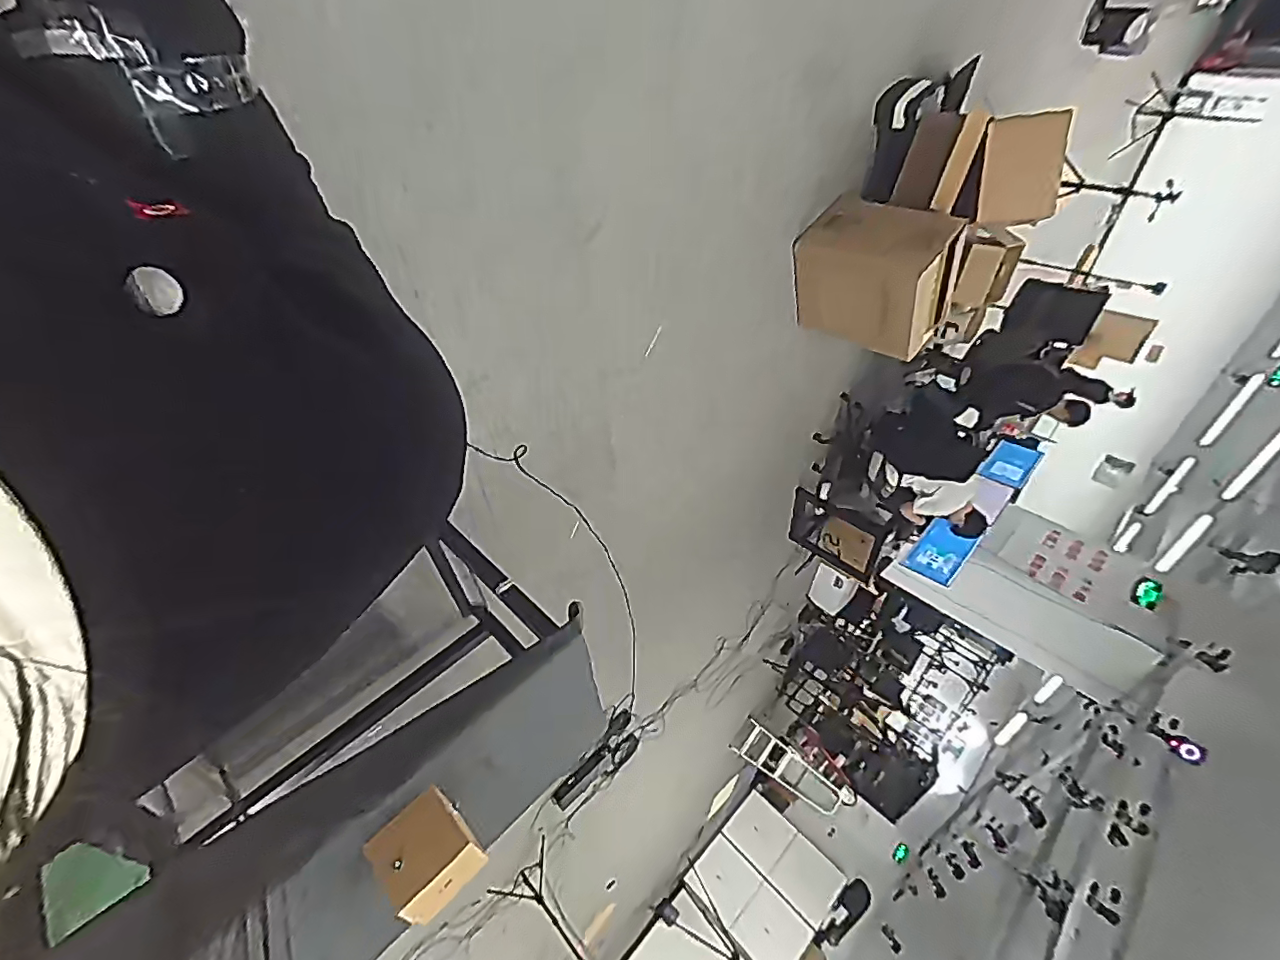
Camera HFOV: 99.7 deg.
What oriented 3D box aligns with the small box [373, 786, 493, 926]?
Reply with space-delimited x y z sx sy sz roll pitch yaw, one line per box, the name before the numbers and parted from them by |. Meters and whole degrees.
small box | -0.467 0.837 1.210 0.179 0.176 0.168 -39 144 -29
